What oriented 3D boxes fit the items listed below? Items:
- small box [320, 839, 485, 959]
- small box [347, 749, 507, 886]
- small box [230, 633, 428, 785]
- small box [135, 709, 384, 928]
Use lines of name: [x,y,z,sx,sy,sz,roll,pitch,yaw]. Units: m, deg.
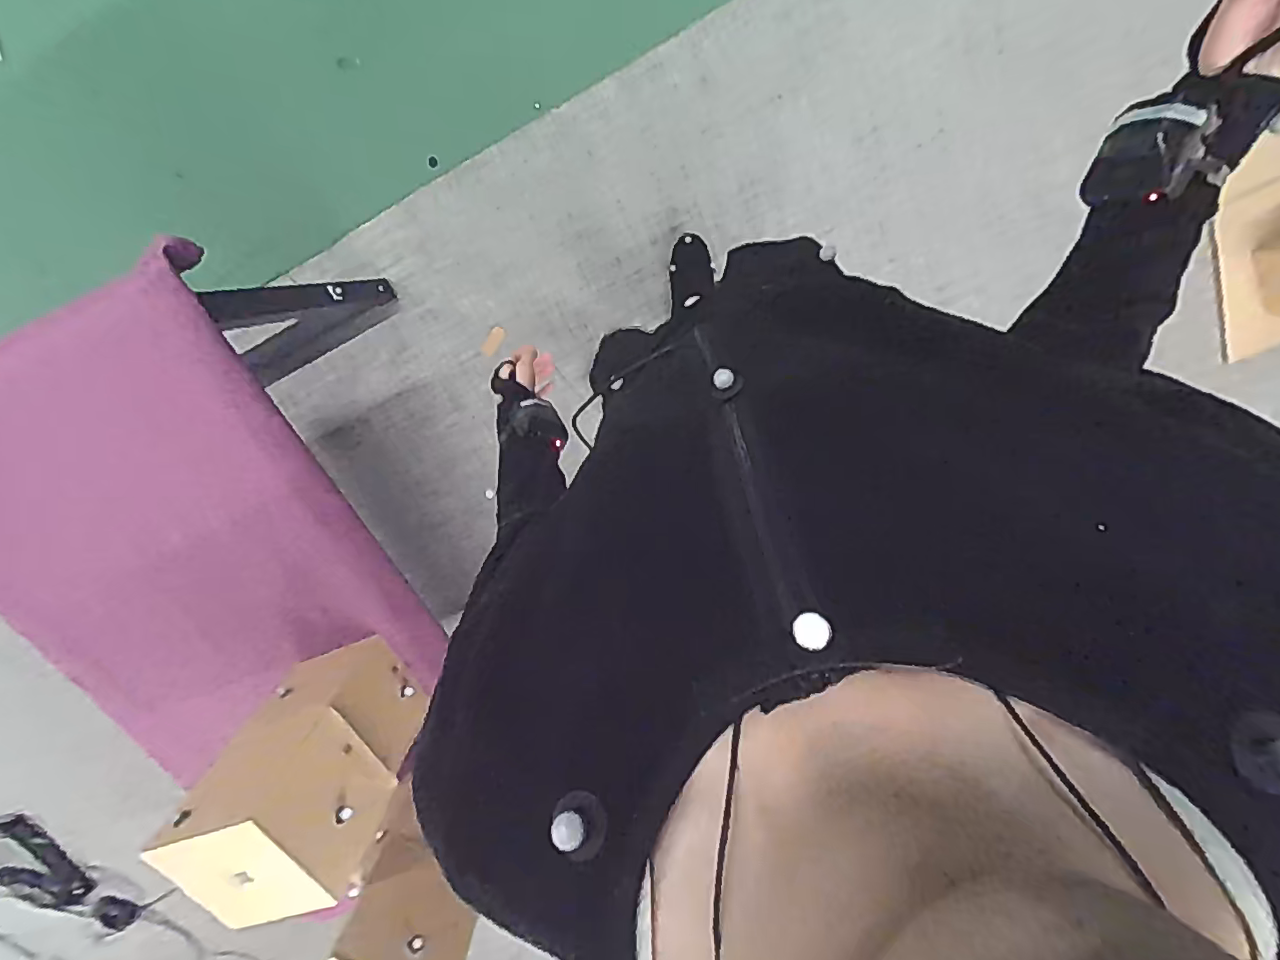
small box: [-0.354,0.674,0.795,0.179,0.176,0.168,28,111,-7]
small box: [-0.362,0.616,0.951,0.179,0.176,0.168,39,109,-13]
small box: [-0.478,0.377,0.860,0.179,0.176,0.168,-21,111,11]
small box: [-0.469,0.431,0.706,0.179,0.176,0.168,-21,111,13]
